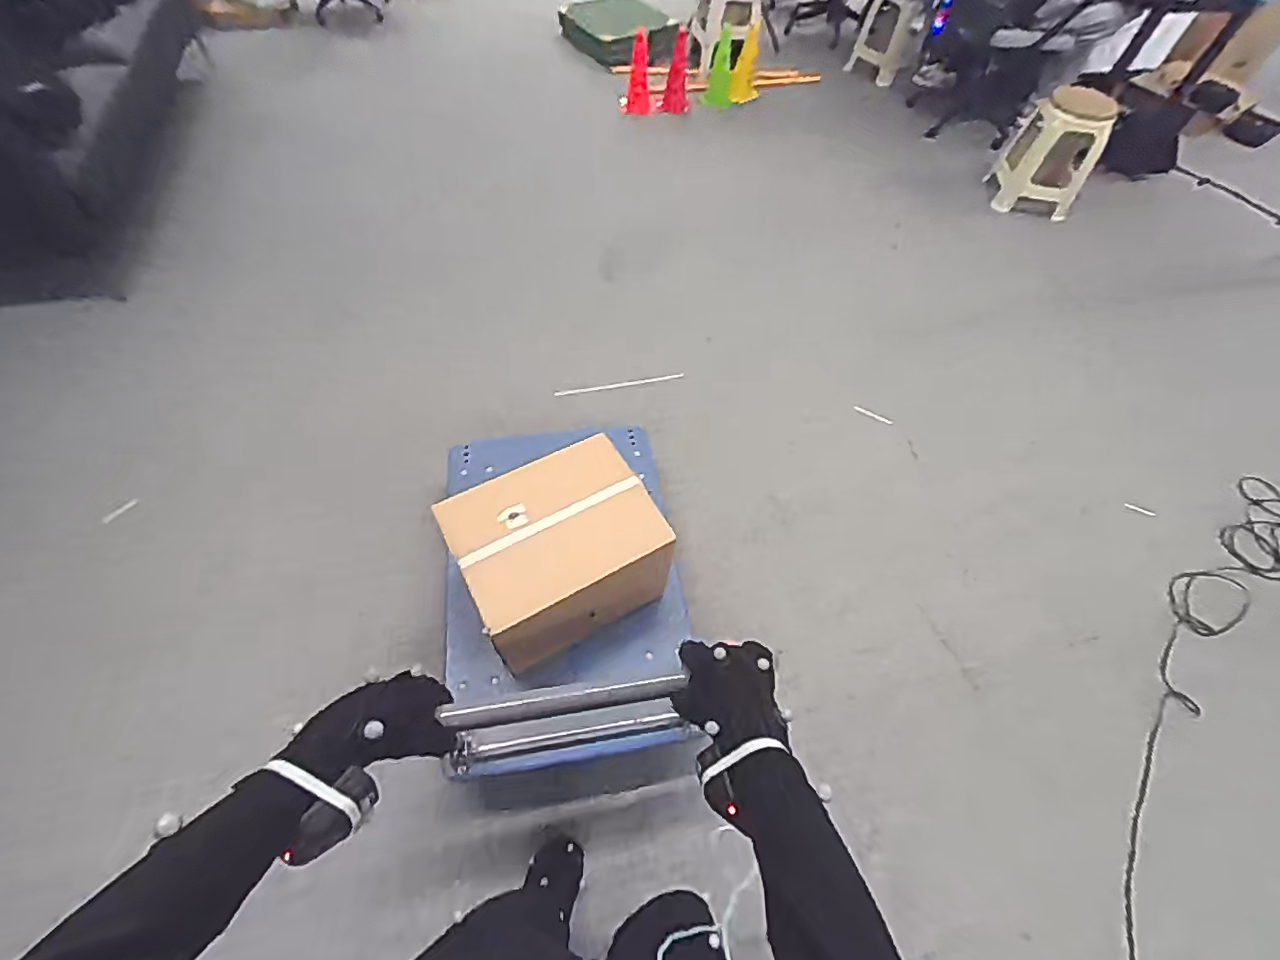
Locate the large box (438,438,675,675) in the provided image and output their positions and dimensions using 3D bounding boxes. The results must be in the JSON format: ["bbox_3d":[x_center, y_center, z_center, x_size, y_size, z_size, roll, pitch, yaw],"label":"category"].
[{"bbox_3d":[-0.177,0.177,1.237,0.408,0.320,0.320,-27,62,-18],"label":"large box"}]
